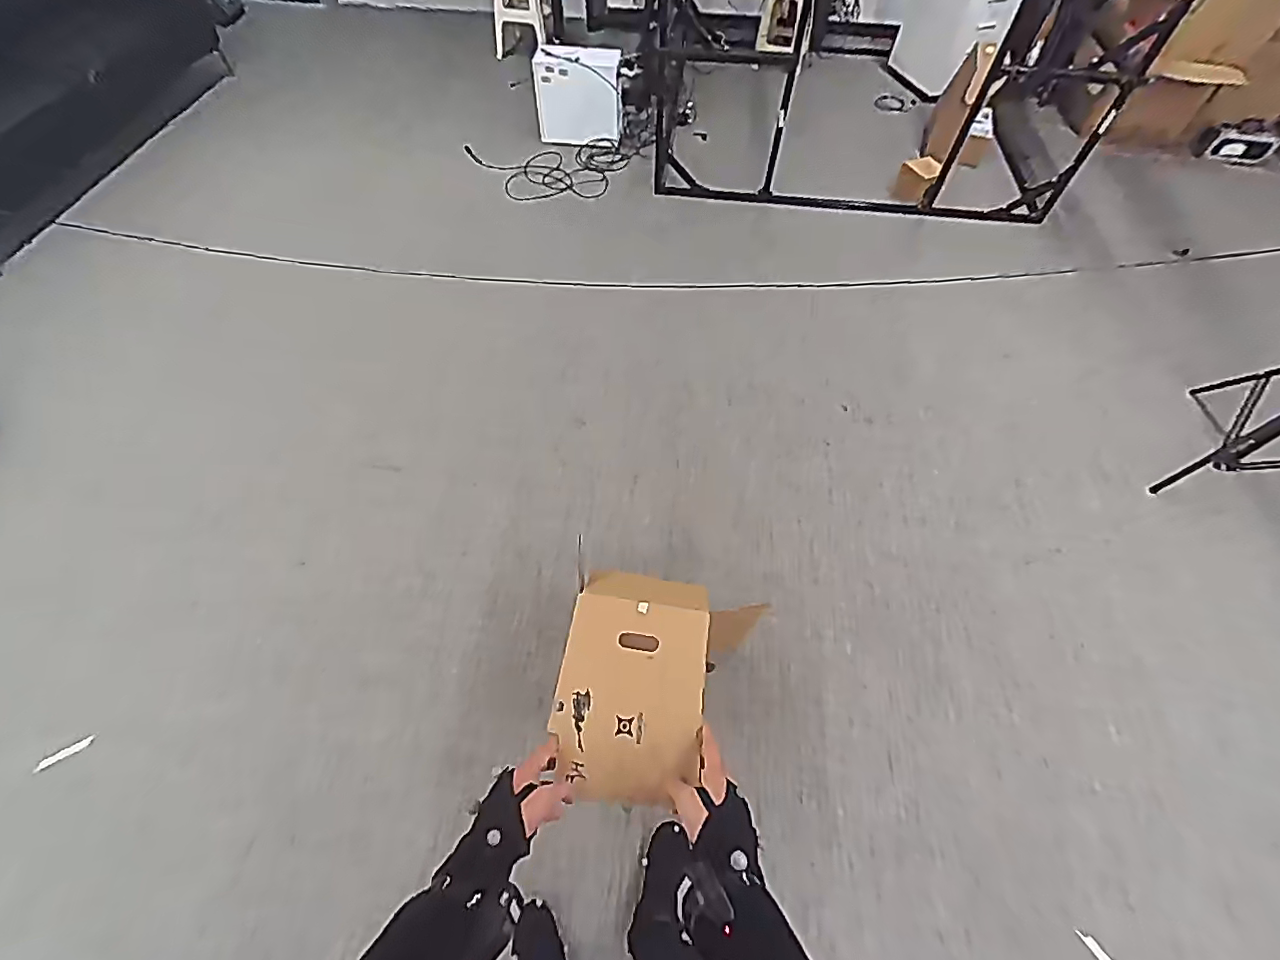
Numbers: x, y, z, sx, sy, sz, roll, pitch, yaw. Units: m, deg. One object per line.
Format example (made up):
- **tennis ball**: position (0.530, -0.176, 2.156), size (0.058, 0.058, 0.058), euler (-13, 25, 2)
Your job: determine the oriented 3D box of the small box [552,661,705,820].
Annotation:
- **small box**: position (-0.010, 0.350, 0.739), size (0.179, 0.176, 0.168), euler (4, 64, 3)
